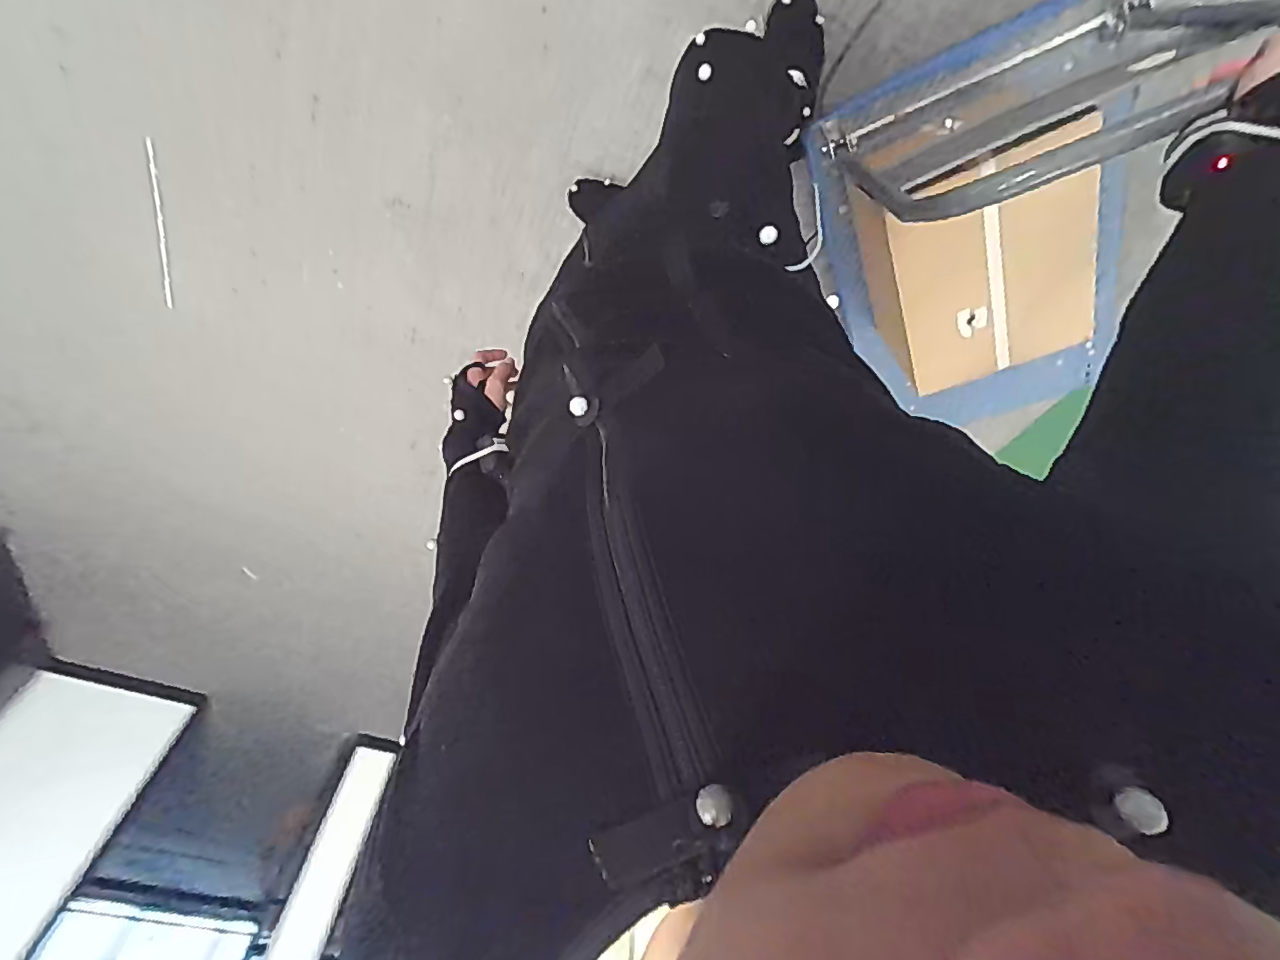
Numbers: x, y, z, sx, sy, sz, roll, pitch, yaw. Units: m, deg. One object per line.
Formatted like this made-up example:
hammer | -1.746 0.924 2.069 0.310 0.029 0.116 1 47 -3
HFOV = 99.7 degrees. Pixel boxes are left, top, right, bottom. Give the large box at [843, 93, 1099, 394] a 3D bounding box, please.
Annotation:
large box | 0.635 -0.457 1.069 0.320 0.320 0.408 -19 127 19
